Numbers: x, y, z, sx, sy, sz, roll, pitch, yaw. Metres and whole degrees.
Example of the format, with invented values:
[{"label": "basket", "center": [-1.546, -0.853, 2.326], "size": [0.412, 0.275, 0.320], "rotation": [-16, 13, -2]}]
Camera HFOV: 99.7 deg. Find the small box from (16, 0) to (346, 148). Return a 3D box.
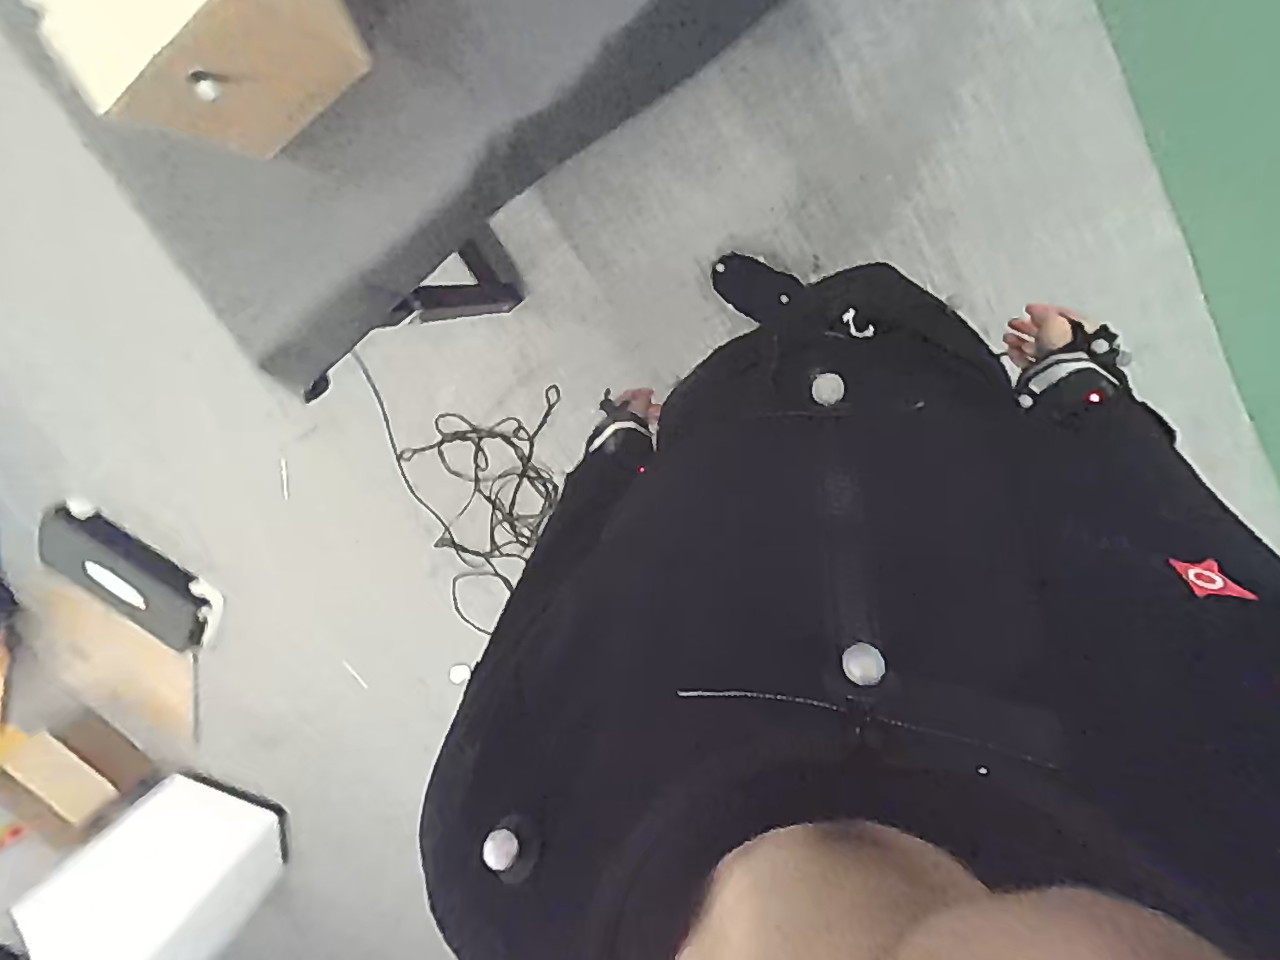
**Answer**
[{"label": "small box", "center": [-0.398, -0.432, 0.475], "size": [0.179, 0.176, 0.168], "rotation": [-23, 103, 19]}]
